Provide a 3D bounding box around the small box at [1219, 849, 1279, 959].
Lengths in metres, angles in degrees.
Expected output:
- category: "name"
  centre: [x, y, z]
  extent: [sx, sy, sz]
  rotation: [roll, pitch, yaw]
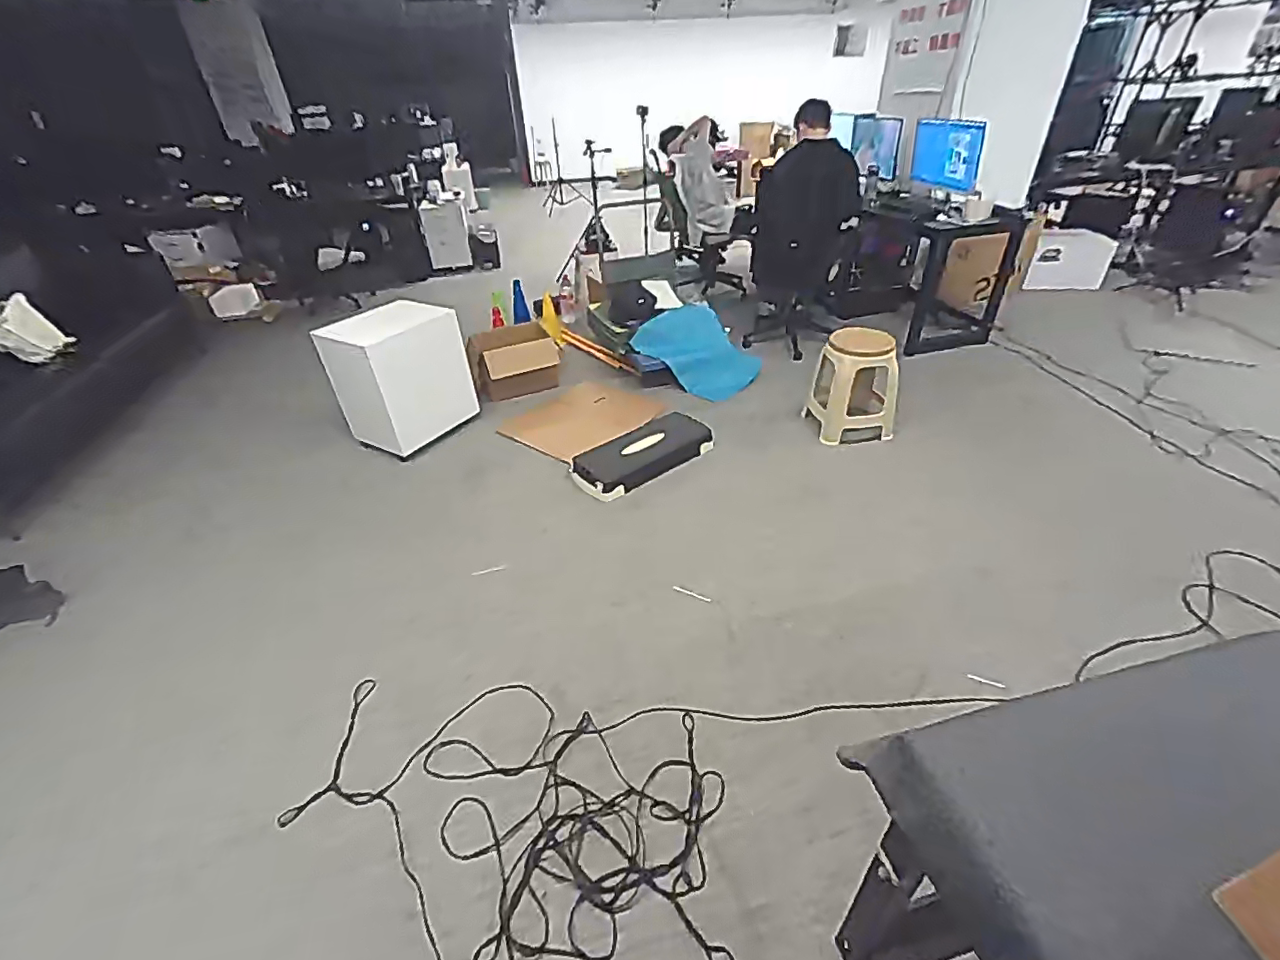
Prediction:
- category: "small box"
  centre: [0.652, 0.390, 0.427]
  extent: [0.168, 0.176, 0.179]
  rotation: [-5, 35, -4]
